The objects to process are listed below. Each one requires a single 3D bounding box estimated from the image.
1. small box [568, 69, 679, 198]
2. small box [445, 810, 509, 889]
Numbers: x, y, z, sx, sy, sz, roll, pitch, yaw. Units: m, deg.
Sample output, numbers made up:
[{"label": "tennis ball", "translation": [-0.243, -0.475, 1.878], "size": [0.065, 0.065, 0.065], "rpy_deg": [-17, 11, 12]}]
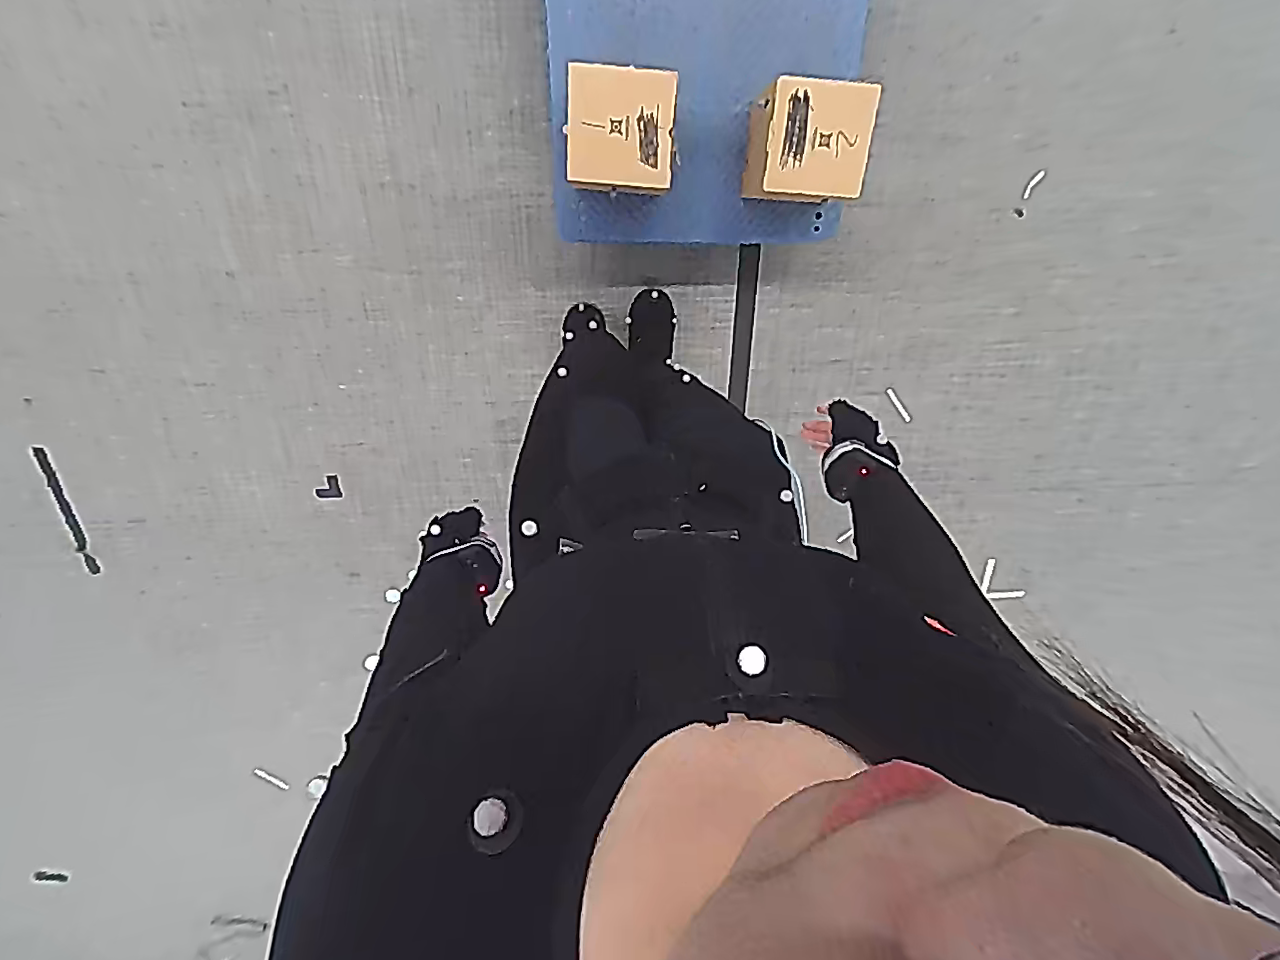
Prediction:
[{"label": "small box", "translation": [-0.033, -0.599, 0.956], "size": [0.179, 0.176, 0.168], "rpy_deg": [3, 114, -3]}, {"label": "small box", "translation": [-0.543, 1.246, 1.824], "size": [0.179, 0.176, 0.168], "rpy_deg": [4, 115, -4]}]
